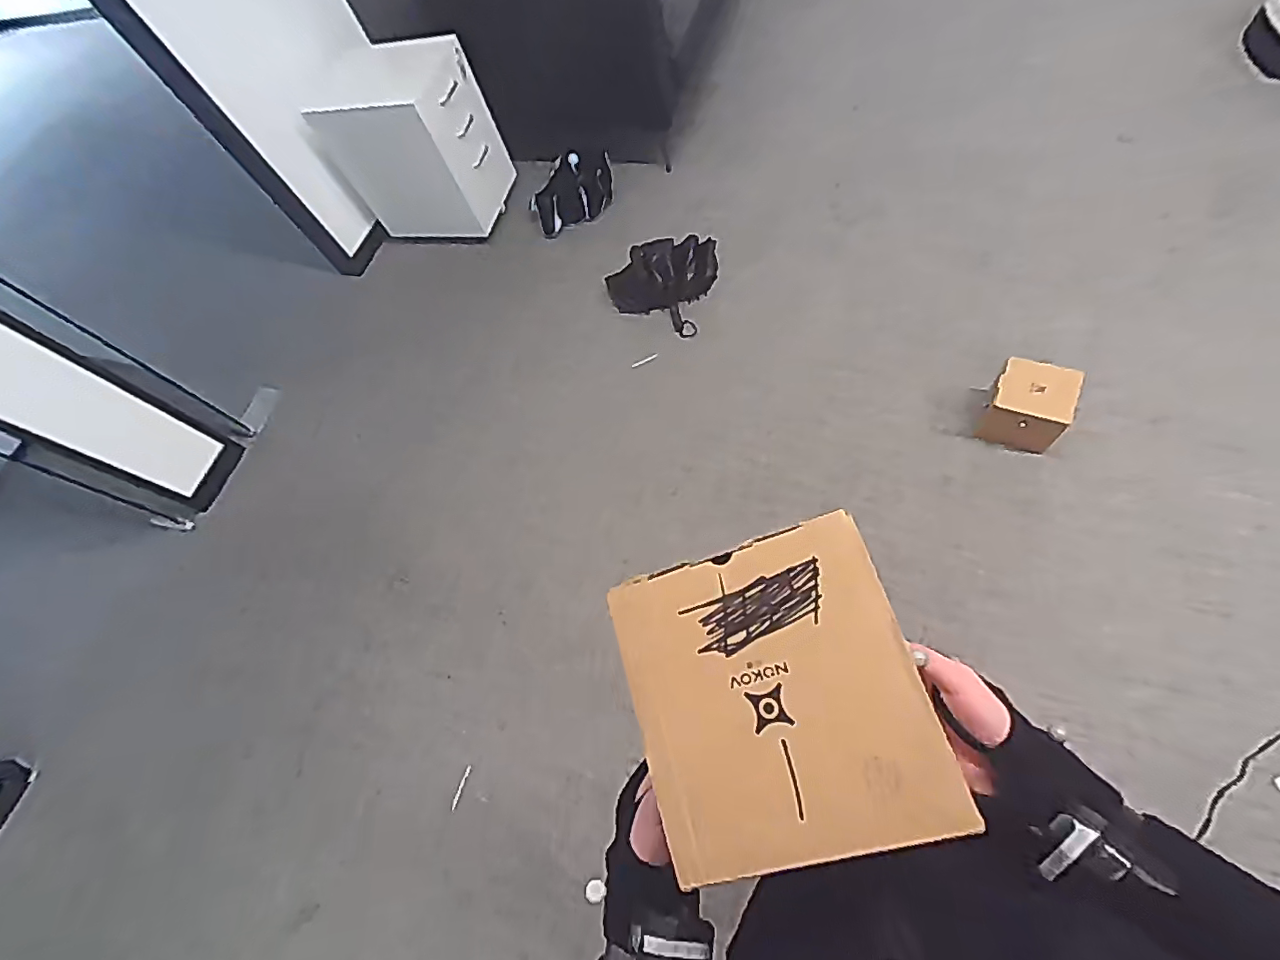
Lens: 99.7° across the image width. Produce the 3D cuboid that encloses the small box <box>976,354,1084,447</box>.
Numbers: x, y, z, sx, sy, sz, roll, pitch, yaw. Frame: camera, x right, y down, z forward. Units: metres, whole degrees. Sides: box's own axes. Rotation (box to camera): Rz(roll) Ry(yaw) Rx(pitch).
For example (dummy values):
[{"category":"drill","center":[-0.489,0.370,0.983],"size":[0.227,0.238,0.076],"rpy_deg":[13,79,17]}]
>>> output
[{"category":"small box","center":[1.044,-0.210,1.462],"size":[0.179,0.176,0.168],"rpy_deg":[21,73,21]}]

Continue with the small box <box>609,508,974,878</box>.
[{"category":"small box","center":[0.099,0.141,0.389],"size":[0.168,0.176,0.179],"rpy_deg":[-21,69,14]}]
